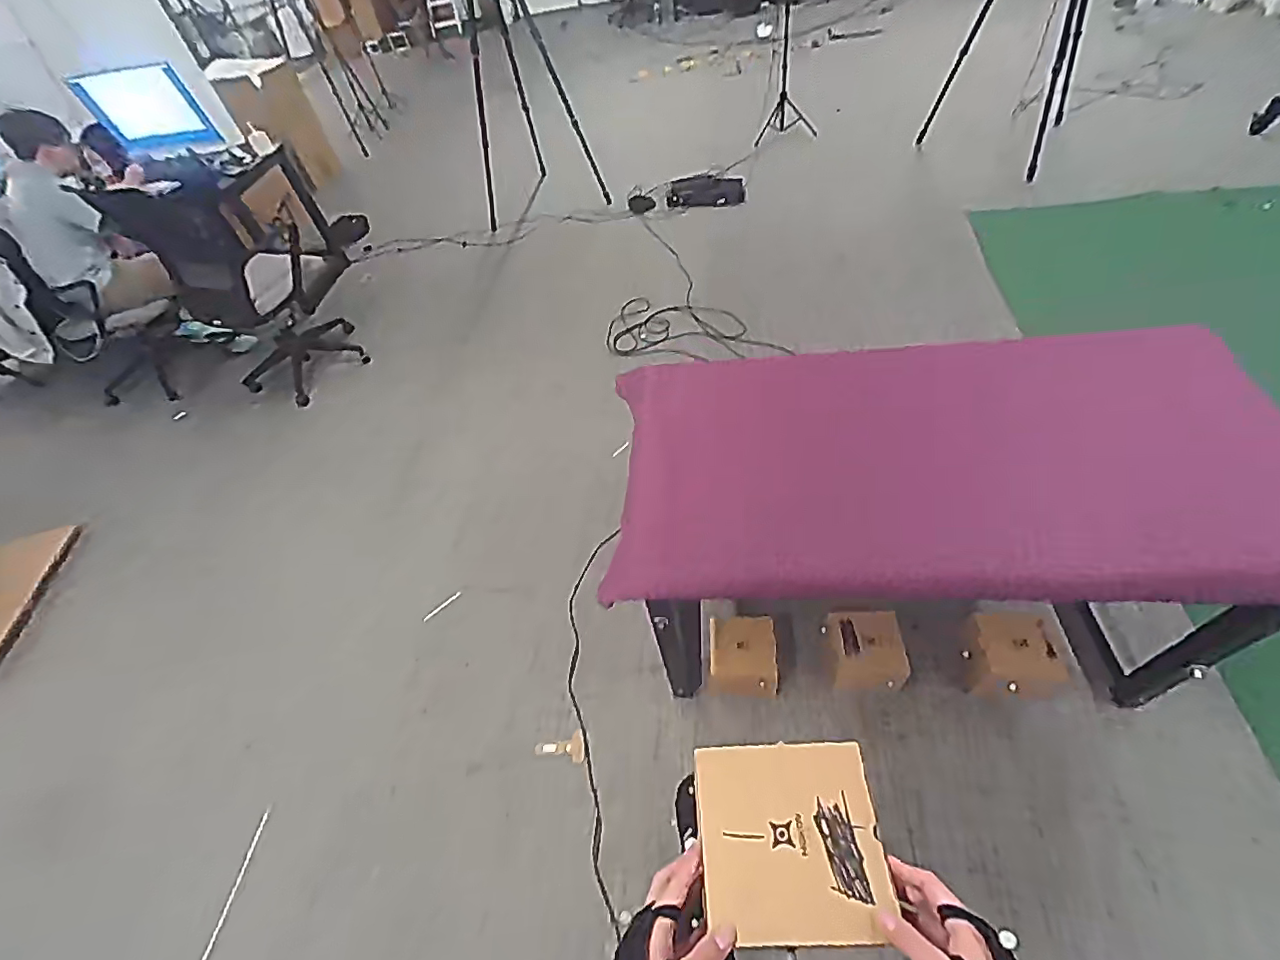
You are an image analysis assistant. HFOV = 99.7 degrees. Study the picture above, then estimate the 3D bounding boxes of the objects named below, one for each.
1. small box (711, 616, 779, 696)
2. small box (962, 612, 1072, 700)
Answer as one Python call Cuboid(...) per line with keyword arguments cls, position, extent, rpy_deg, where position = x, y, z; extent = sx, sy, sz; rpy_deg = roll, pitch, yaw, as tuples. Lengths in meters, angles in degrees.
Cuboid(cls="small box", position=(0.291, 0.492, 1.505), extent=(0.179, 0.176, 0.168), rpy_deg=(-2, 51, 9))
Cuboid(cls="small box", position=(0.958, 0.456, 1.397), extent=(0.179, 0.176, 0.168), rpy_deg=(0, 51, 12))
